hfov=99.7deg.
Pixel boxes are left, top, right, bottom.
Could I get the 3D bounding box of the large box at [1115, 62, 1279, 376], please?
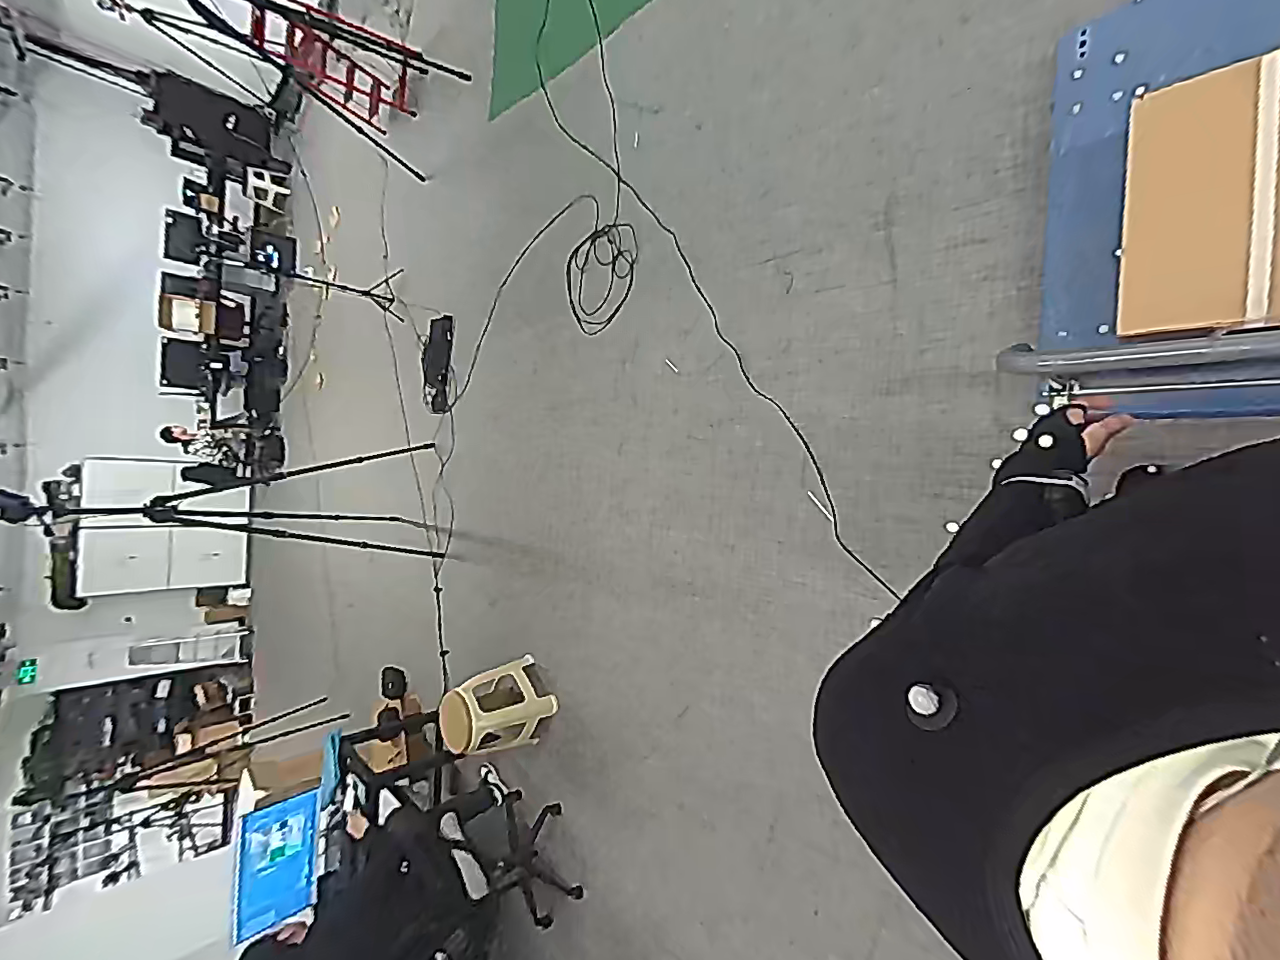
[{"bbox_3d":[1.038,-0.419,0.925,0.320,0.320,0.408,3,89,44],"label":"large box"}]
